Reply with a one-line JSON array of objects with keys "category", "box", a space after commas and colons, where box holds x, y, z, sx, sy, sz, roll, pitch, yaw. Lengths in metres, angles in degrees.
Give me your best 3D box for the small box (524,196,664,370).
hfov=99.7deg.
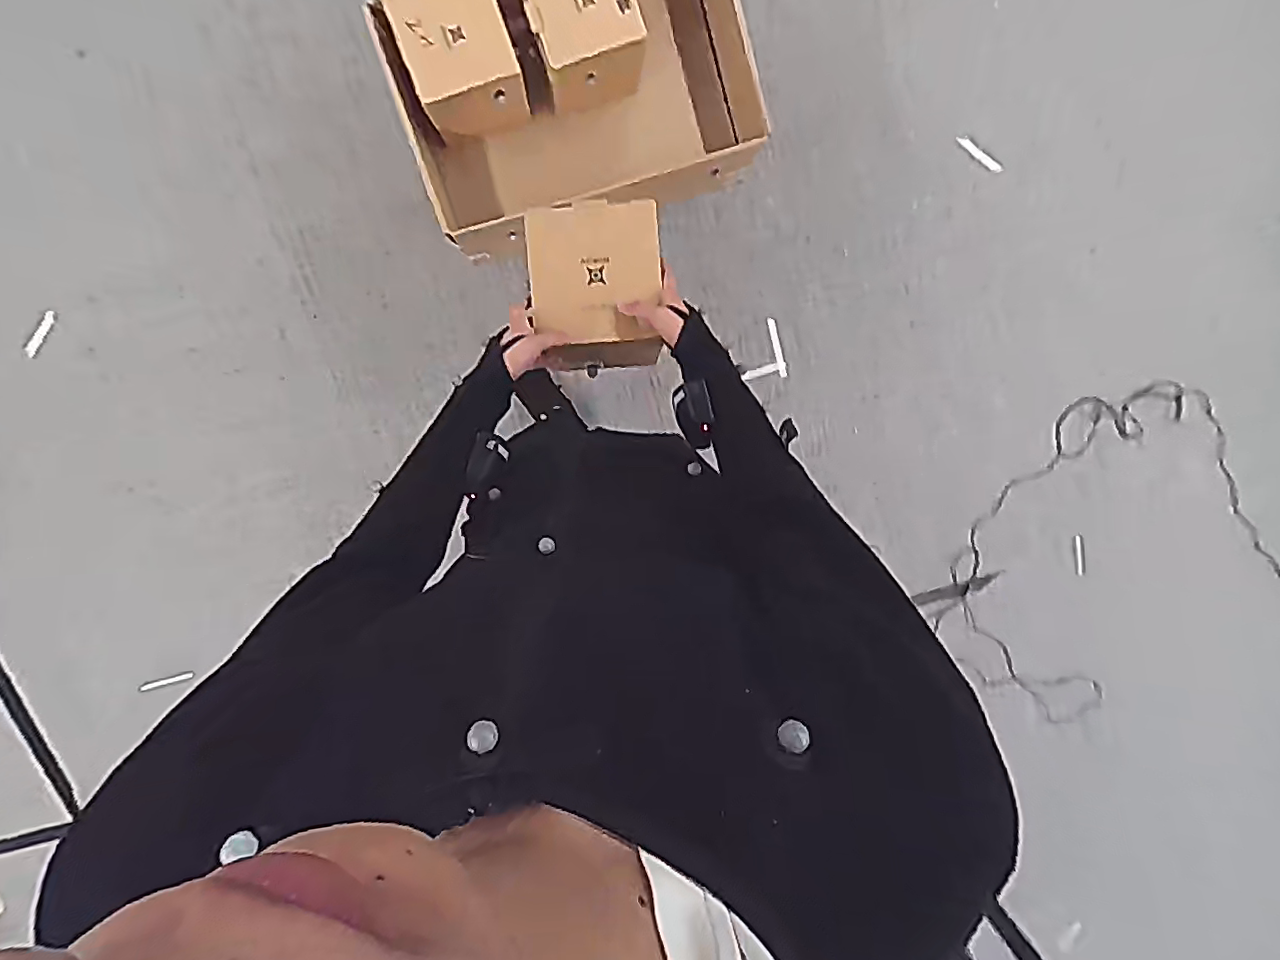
[{"category": "small box", "box": [-0.060, -0.260, 0.745, 0.168, 0.176, 0.179, -5, 90, -2]}]
